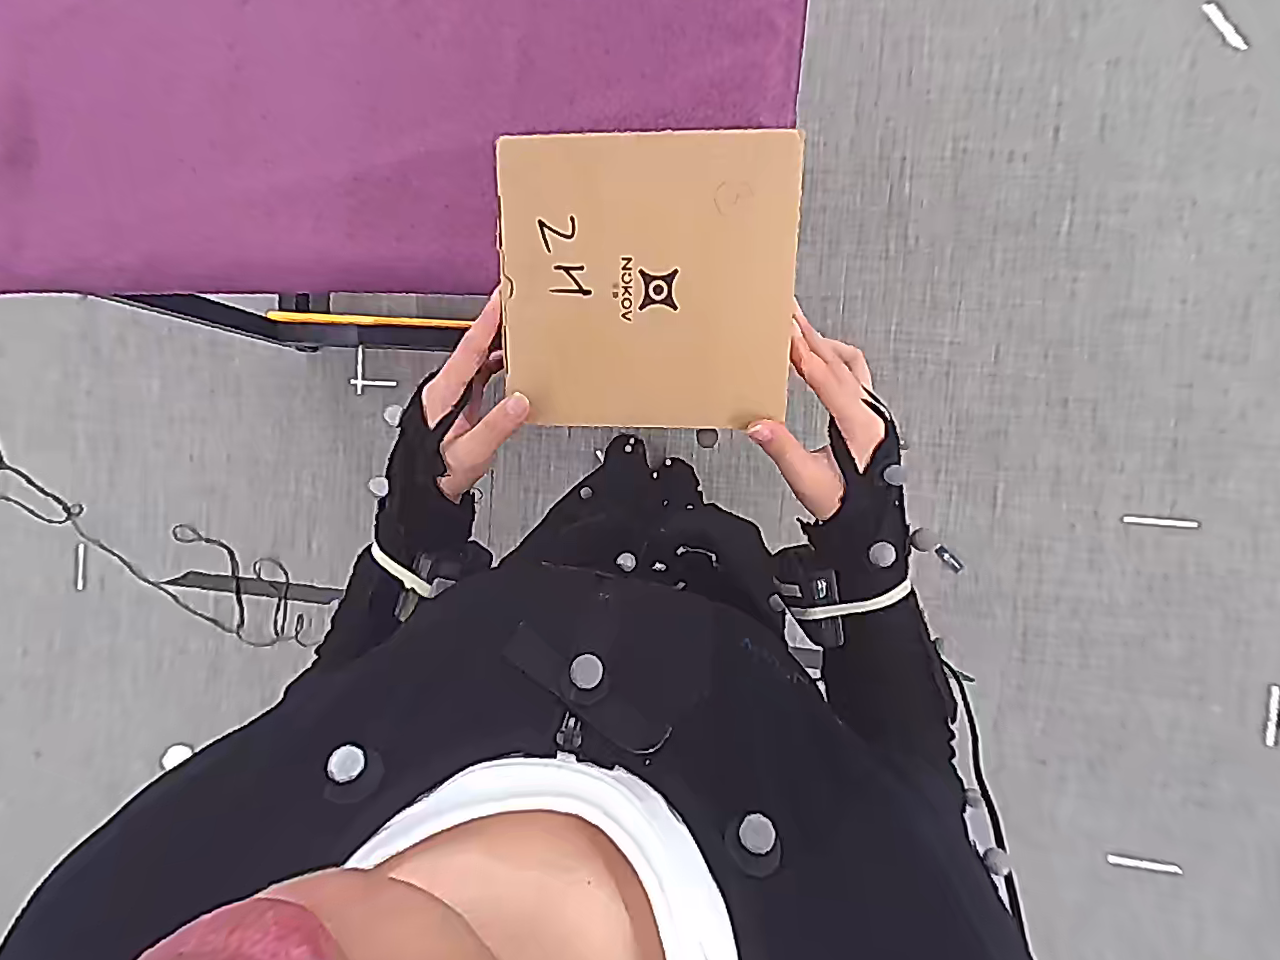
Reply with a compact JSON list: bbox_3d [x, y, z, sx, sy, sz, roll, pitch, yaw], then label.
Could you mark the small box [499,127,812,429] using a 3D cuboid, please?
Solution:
[{"bbox_3d":[0.011,-0.131,0.392,0.179,0.176,0.168,2,102,5],"label":"small box"}]
